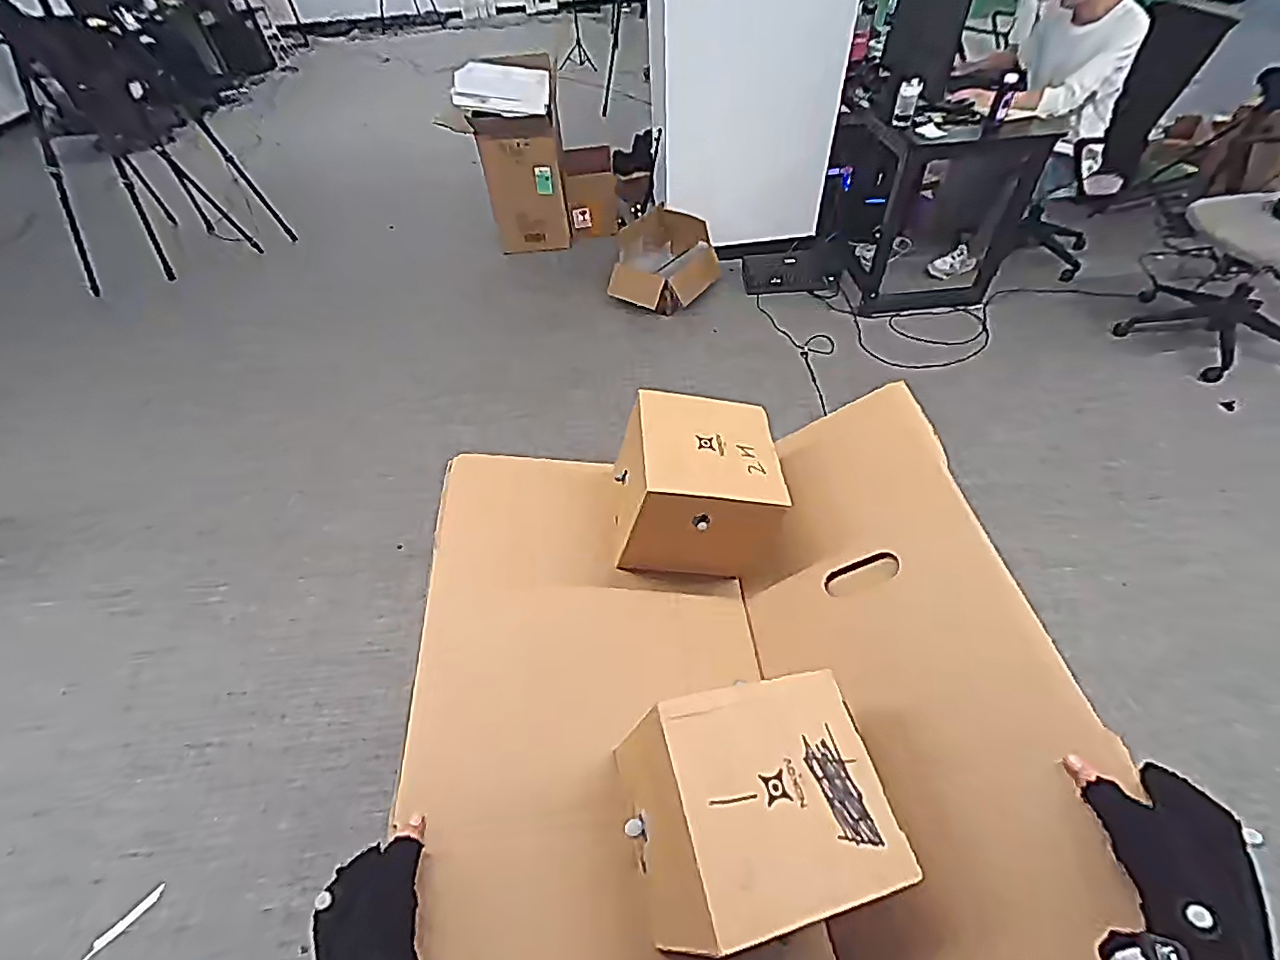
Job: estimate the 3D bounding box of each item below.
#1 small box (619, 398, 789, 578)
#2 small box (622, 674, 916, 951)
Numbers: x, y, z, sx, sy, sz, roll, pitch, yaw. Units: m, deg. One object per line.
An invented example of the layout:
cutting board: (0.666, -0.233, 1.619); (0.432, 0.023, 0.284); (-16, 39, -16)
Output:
small box: (0.069, 0.017, 0.720); (0.179, 0.176, 0.168); (7, 50, -12)
small box: (0.097, 0.297, 0.496); (0.179, 0.176, 0.168); (-3, 52, -19)
